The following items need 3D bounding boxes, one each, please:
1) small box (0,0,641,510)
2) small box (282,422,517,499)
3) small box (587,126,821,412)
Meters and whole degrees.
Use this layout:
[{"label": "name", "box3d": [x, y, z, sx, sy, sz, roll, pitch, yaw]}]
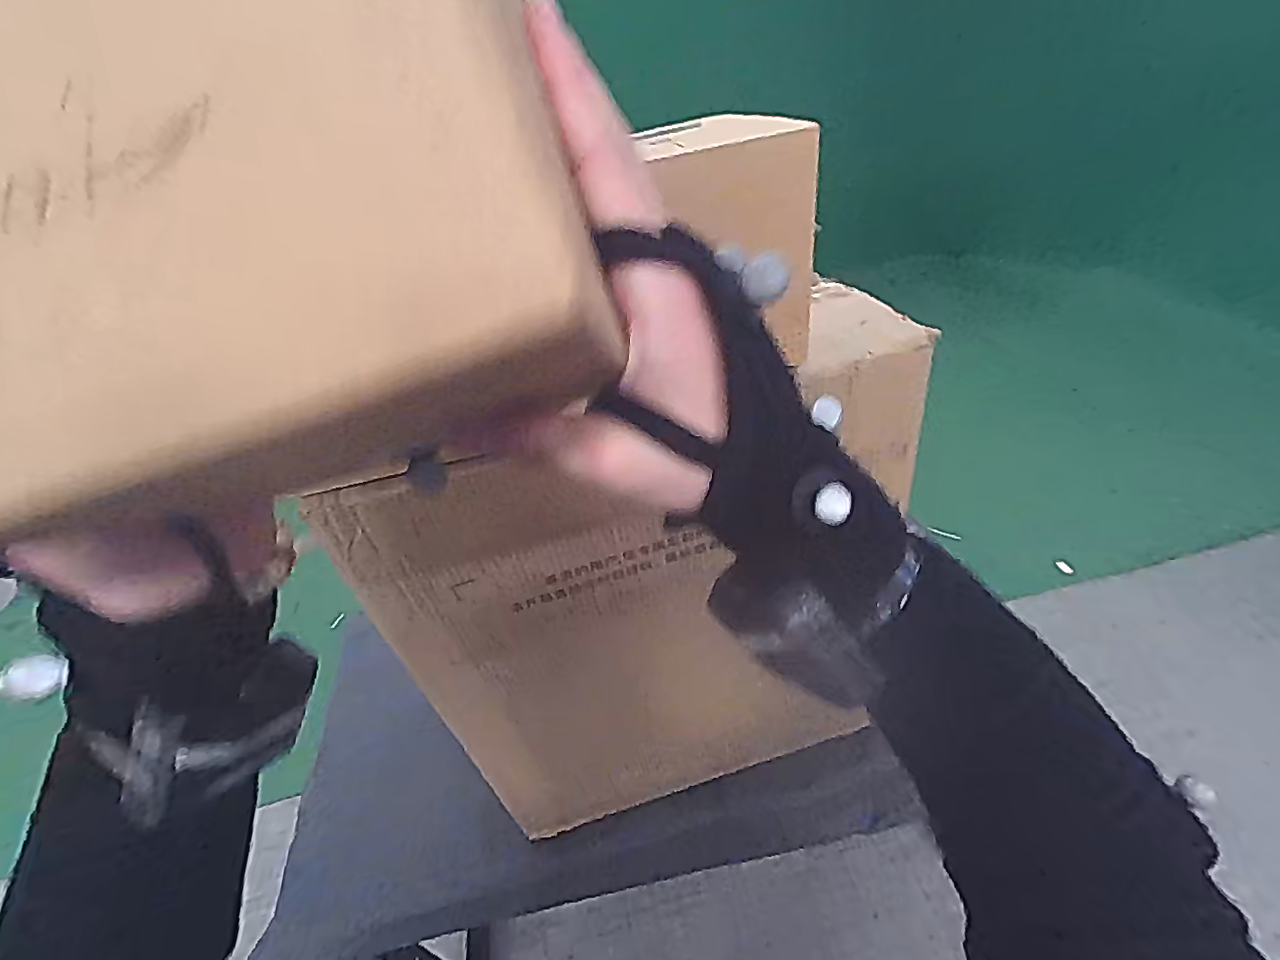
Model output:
[{"label": "small box", "box3d": [-0.103, -0.098, 0.165, 0.168, 0.179, 0.176, -17, 5, 5]}, {"label": "small box", "box3d": [-0.207, -0.107, 0.421, 0.179, 0.176, 0.168, -15, 38, -2]}, {"label": "small box", "box3d": [0.029, -0.180, 0.451, 0.168, 0.176, 0.179, -15, 38, -6]}]
